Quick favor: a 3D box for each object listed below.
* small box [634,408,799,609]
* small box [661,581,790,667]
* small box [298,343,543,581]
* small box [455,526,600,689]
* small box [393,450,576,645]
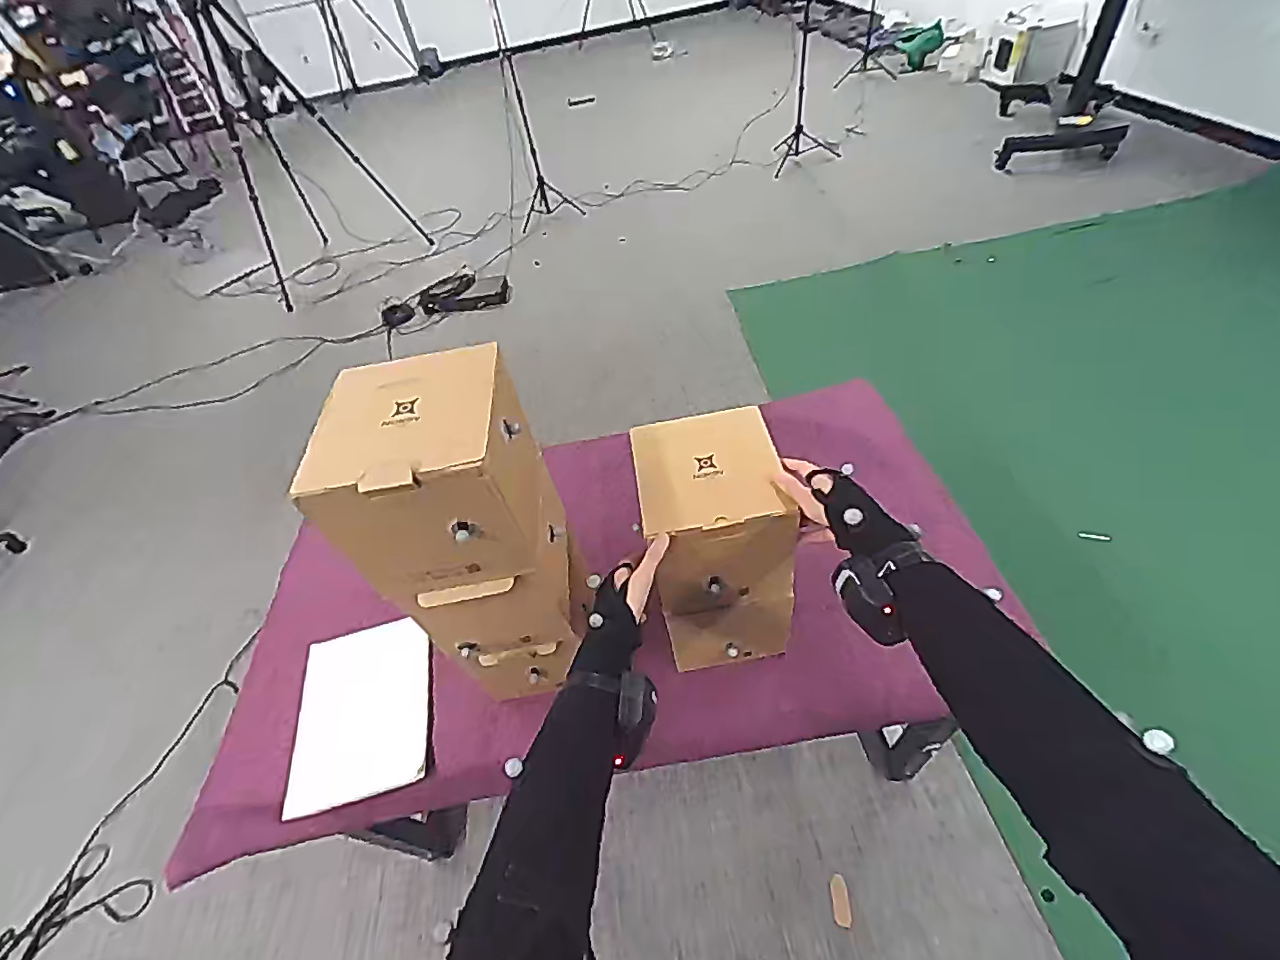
[{"bbox_3d":[0.088,0.038,0.683,0.168,0.176,0.179,-10,48,1],"label":"small box"},{"bbox_3d":[0.113,0.150,0.798,0.168,0.176,0.179,-11,47,2],"label":"small box"},{"bbox_3d":[-0.201,-0.011,0.558,0.168,0.176,0.179,-9,47,2],"label":"small box"},{"bbox_3d":[-0.158,0.197,0.809,0.168,0.176,0.179,-10,49,1],"label":"small box"},{"bbox_3d":[-0.180,0.093,0.682,0.168,0.176,0.179,-10,47,1],"label":"small box"}]
